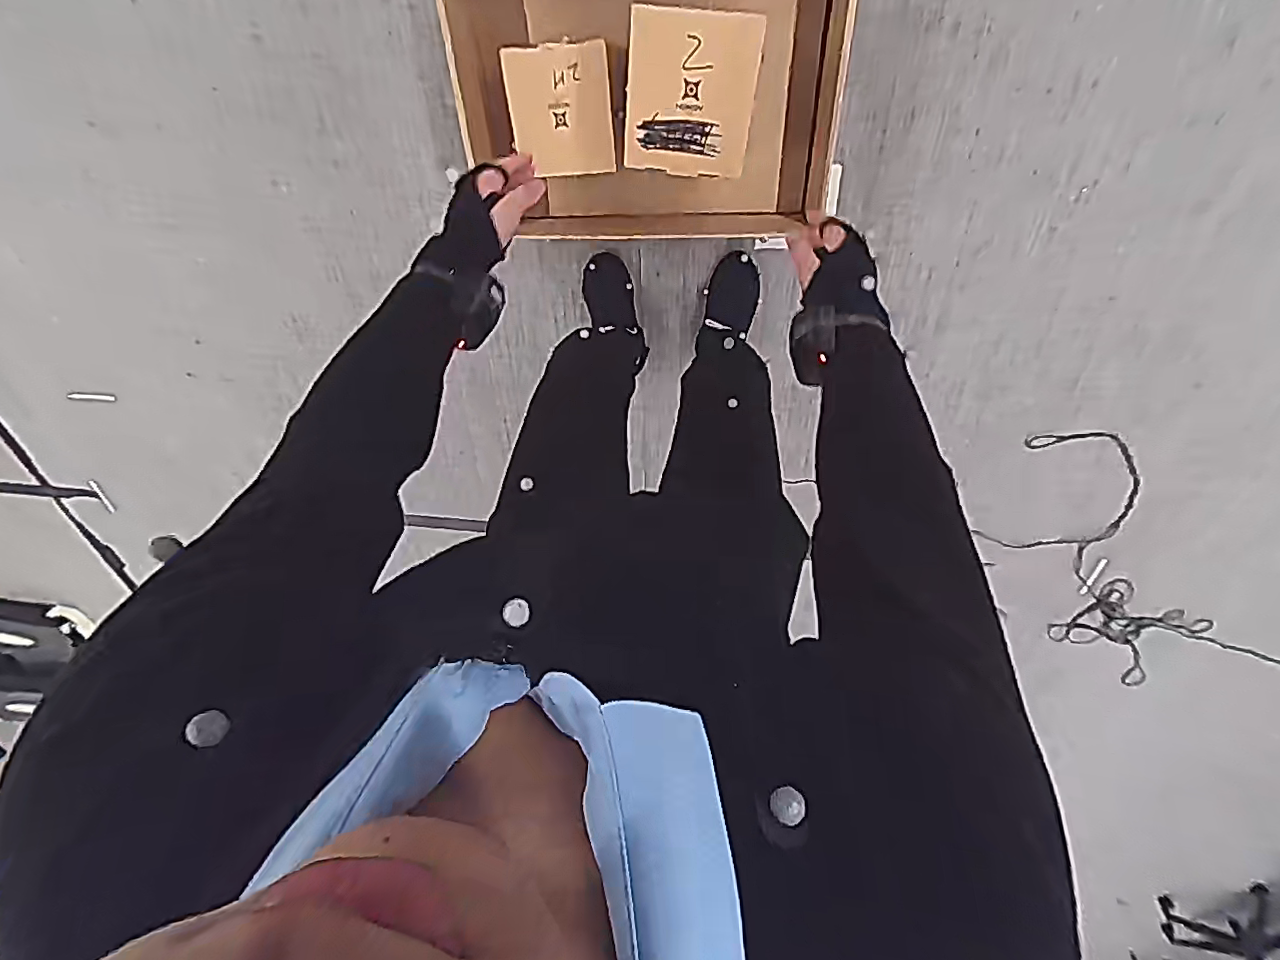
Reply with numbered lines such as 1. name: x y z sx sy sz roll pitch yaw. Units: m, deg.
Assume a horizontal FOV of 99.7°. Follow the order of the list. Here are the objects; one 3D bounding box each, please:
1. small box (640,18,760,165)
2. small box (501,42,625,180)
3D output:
1. small box: 0.096 -0.632 0.886 0.168 0.176 0.179 8 128 6
2. small box: -0.118 -0.624 0.918 0.168 0.176 0.179 -1 126 5
